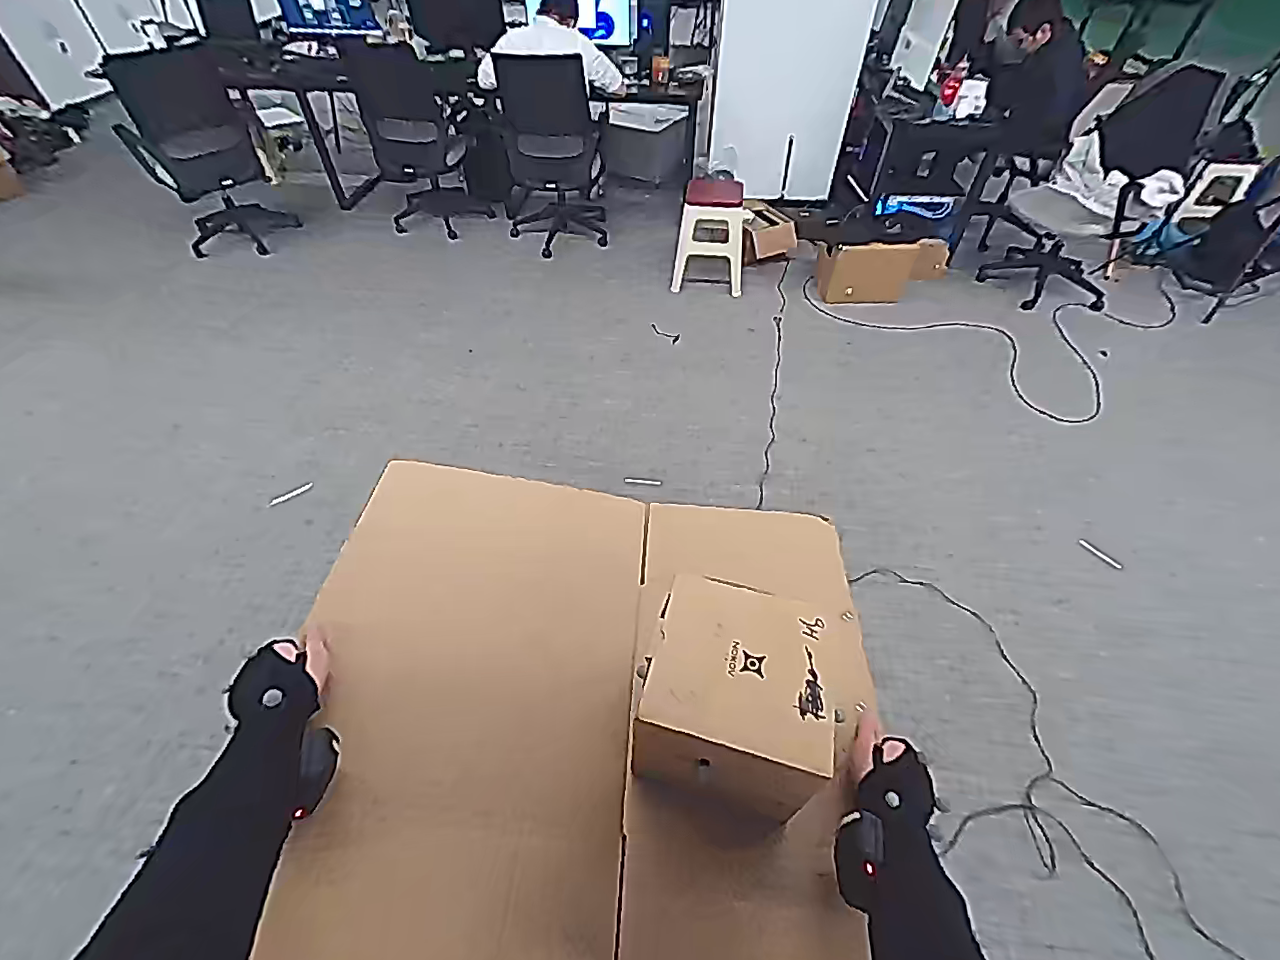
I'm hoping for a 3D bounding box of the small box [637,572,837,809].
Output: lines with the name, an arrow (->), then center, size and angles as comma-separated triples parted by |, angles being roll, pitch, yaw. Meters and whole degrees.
small box -> 0.101, 0.229, 0.586 | 0.179, 0.176, 0.168 | 12, 48, 10
